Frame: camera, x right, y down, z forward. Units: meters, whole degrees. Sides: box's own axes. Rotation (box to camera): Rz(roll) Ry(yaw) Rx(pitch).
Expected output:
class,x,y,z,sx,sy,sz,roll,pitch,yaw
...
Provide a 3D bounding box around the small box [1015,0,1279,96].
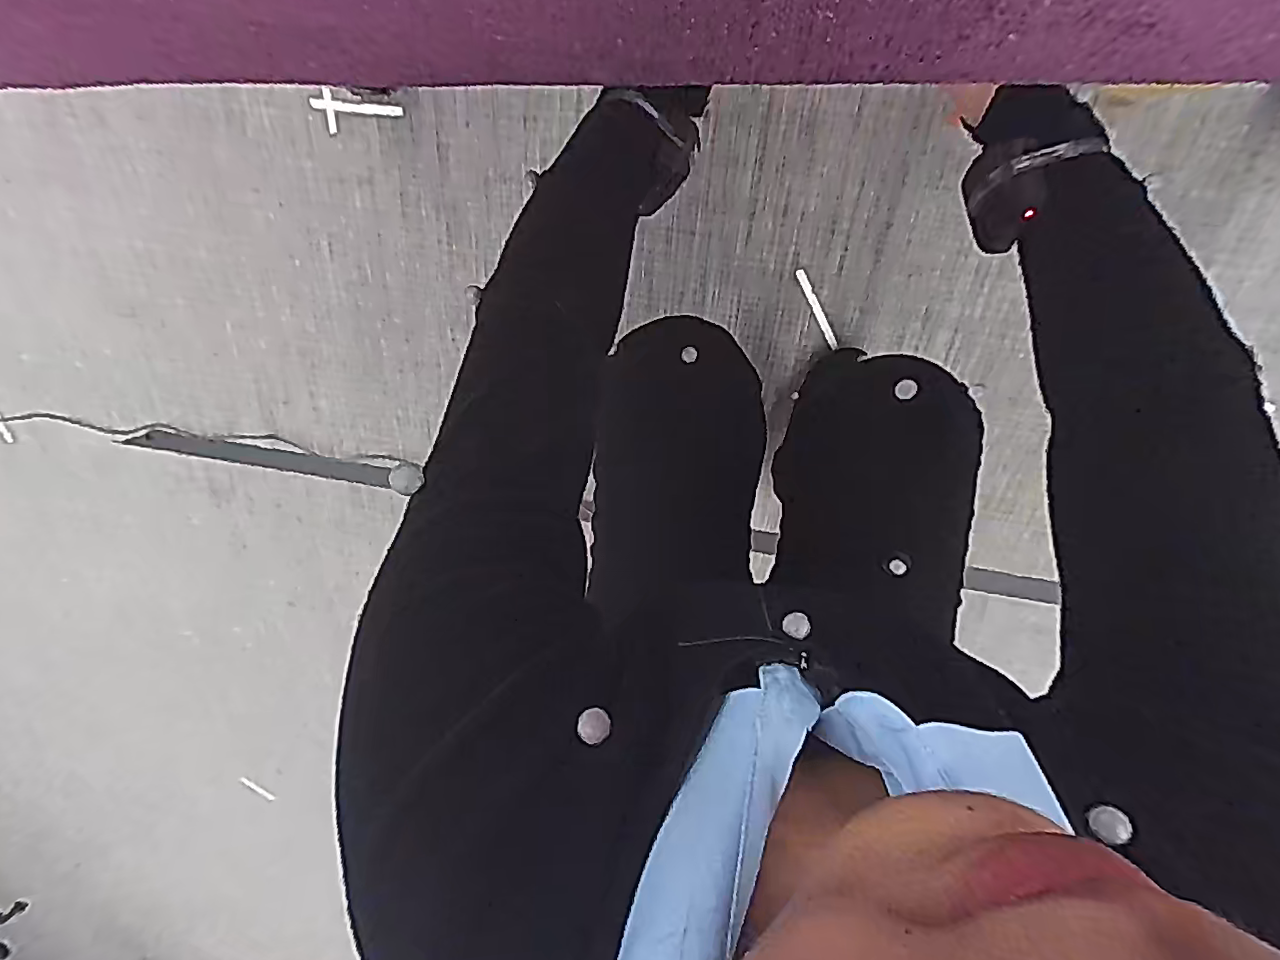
class,x,y,z,sx,sy,sz,roll,pitch,yaw
small box,0.497,-0.485,0.506,0.168,0.176,0.179,15,120,2

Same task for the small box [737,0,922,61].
class,x,y,z,sx,sy,sz,roll,pitch,yaw
small box,0.193,-0.534,0.529,0.168,0.176,0.179,9,120,4
